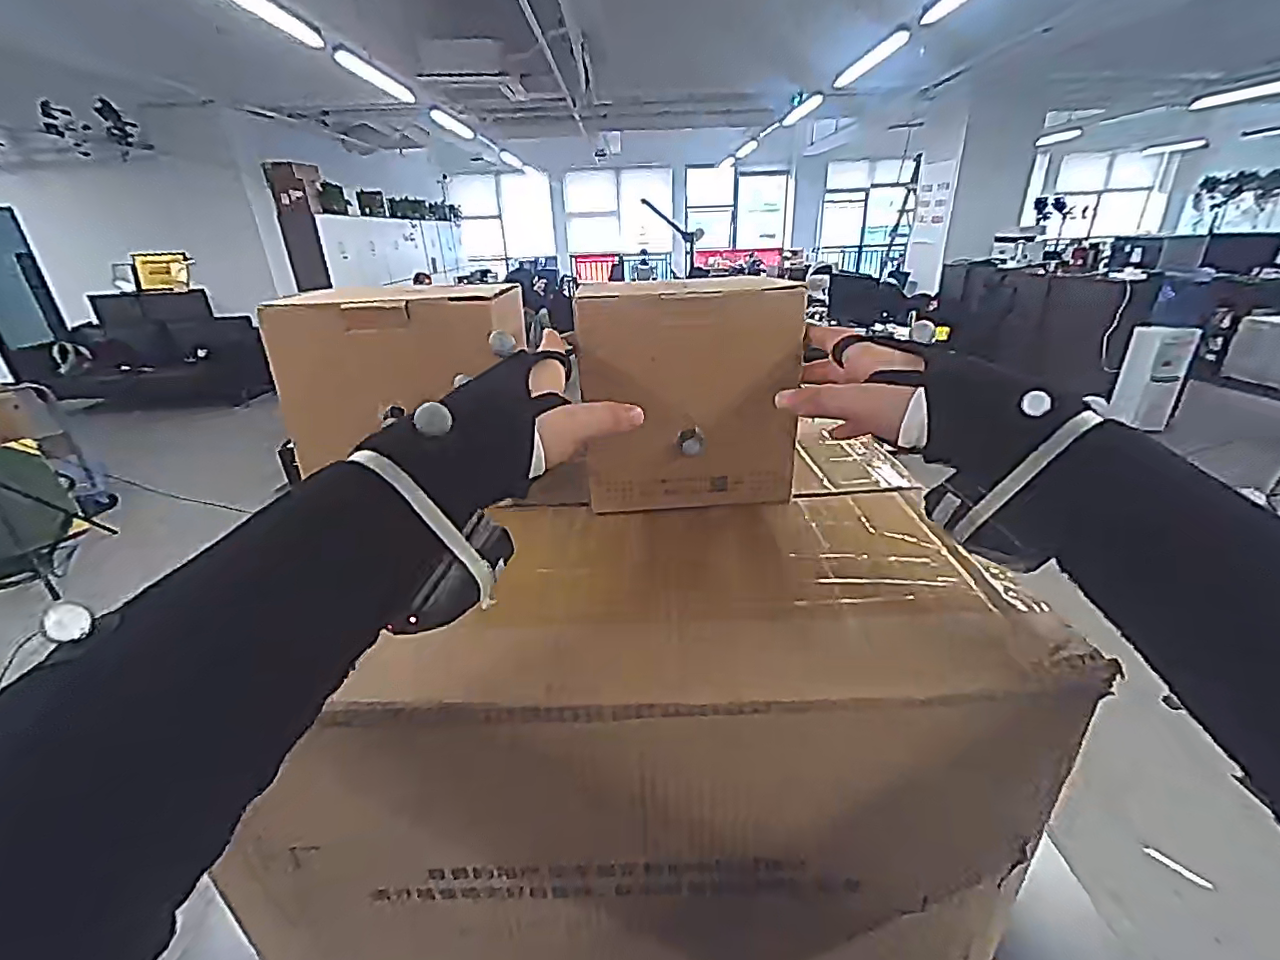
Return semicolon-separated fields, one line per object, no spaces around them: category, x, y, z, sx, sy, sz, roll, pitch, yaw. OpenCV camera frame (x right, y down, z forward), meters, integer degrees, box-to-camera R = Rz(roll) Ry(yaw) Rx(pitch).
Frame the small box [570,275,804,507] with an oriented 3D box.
small box;0.033;-0.087;0.479;0.168;0.176;0.179;-4;23;-1

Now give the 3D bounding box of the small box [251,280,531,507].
small box;-0.194;-0.082;0.487;0.168;0.176;0.179;-3;24;-4
